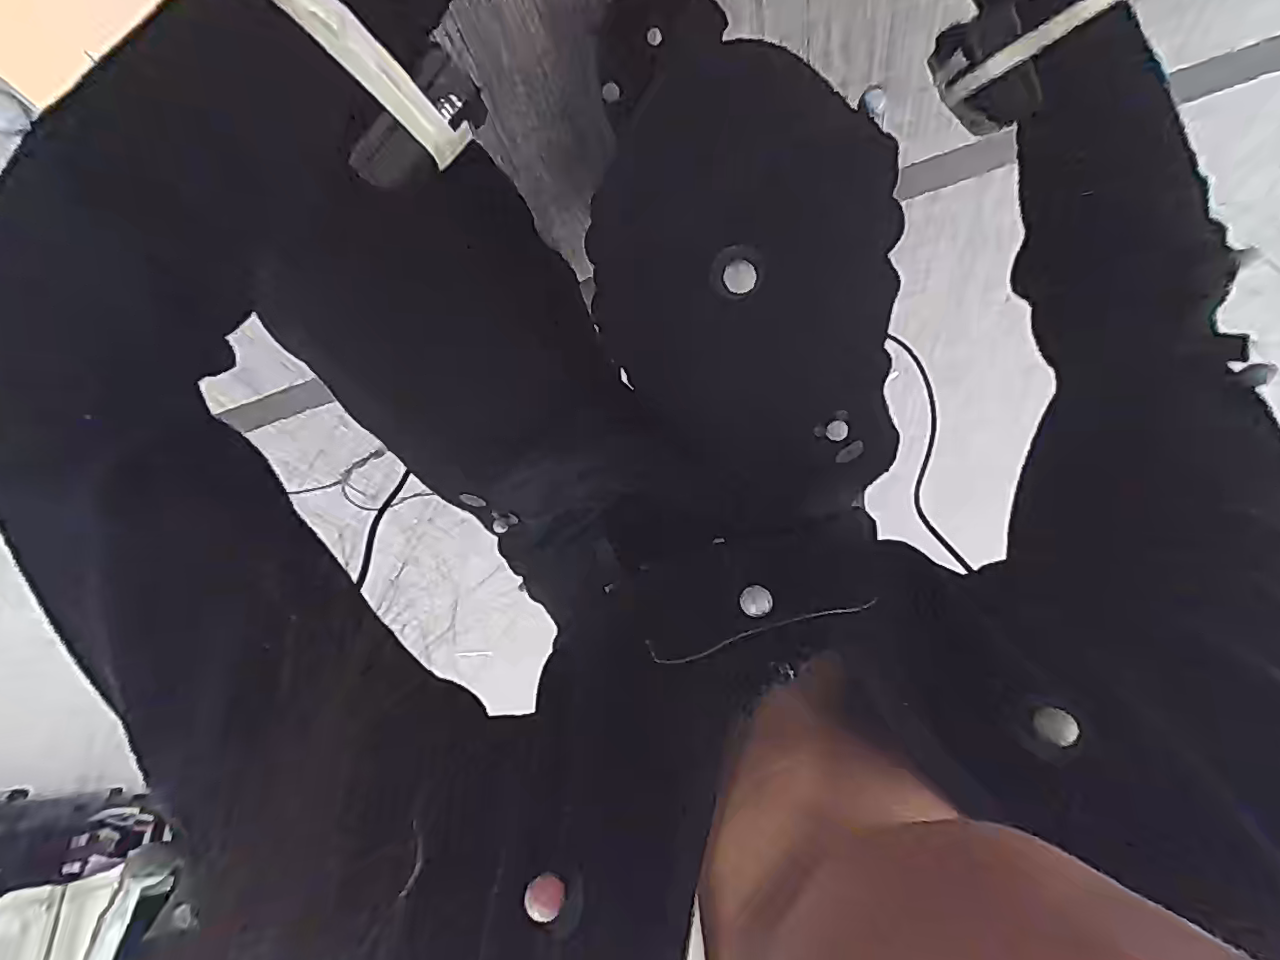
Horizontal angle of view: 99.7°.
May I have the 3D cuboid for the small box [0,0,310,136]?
[{"bbox_3d":[-0.319,-0.348,0.305,0.168,0.176,0.179,-18,148,6],"label":"small box"}]
